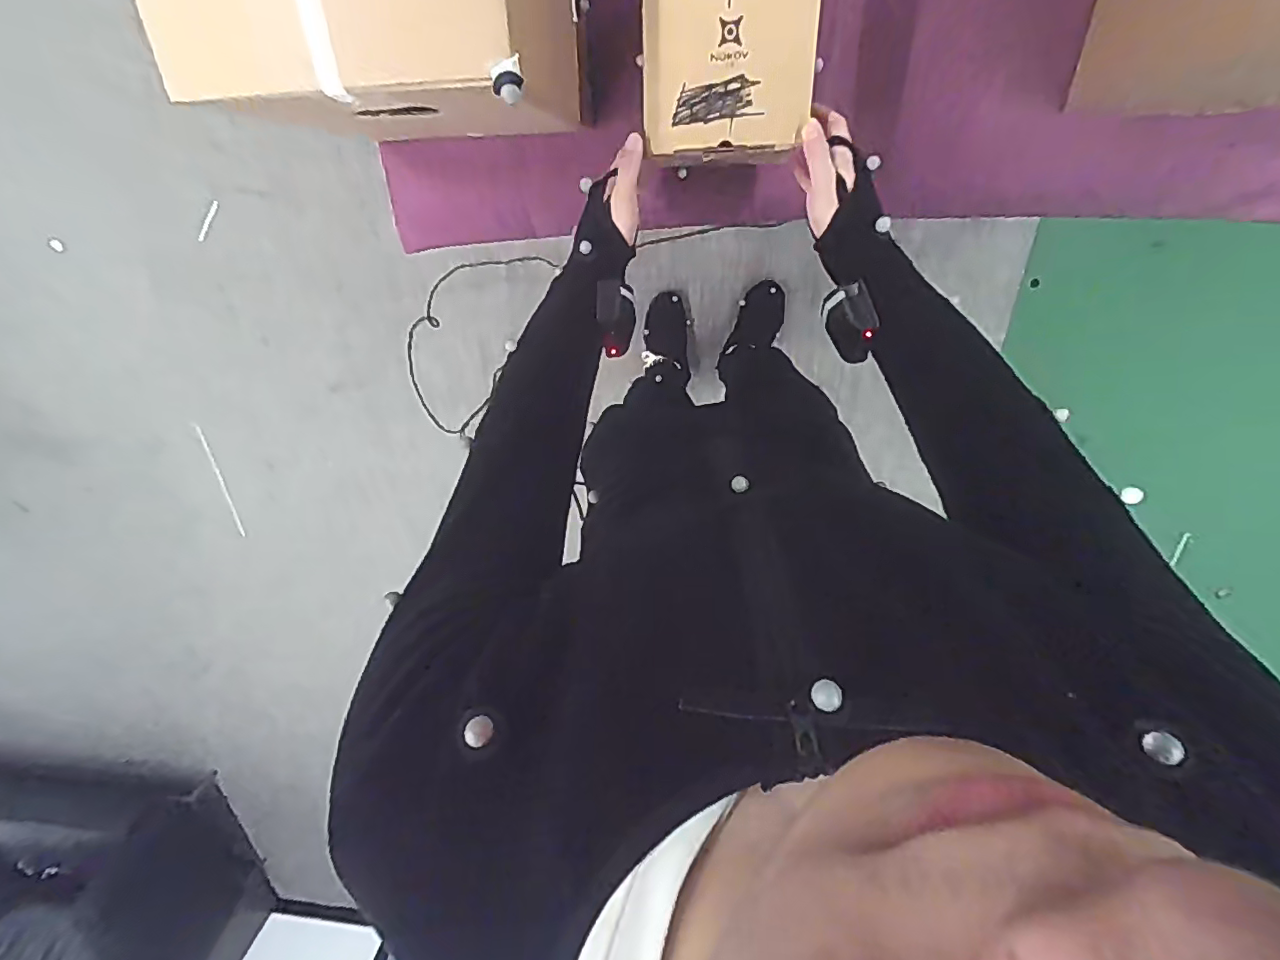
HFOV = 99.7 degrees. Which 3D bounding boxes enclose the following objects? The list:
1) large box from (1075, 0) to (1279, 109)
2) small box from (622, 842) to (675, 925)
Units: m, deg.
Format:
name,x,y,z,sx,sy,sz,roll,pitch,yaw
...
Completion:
name,x,y,z,sx,sy,sz,roll,pitch,yaw
large box,0.622,-0.532,0.387,0.320,0.320,0.408,3,117,8
small box,0.035,1.401,1.880,0.168,0.176,0.179,-1,118,7
